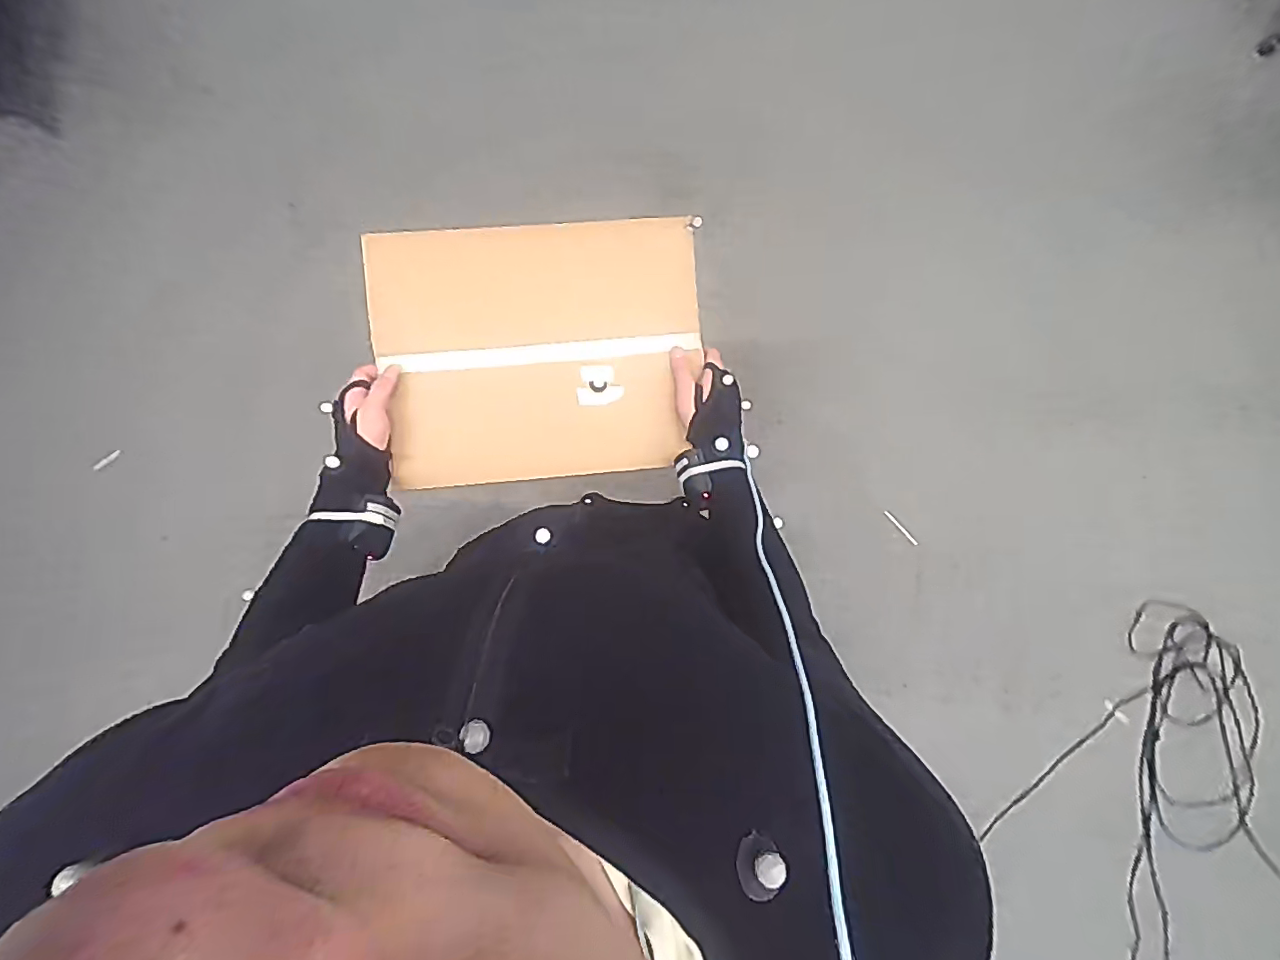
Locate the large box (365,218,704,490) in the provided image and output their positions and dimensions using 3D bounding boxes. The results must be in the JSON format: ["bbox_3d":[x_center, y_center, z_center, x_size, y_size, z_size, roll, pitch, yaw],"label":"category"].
[{"bbox_3d":[-0.141,-0.171,0.837,0.408,0.320,0.320,-6,95,-5],"label":"large box"}]
